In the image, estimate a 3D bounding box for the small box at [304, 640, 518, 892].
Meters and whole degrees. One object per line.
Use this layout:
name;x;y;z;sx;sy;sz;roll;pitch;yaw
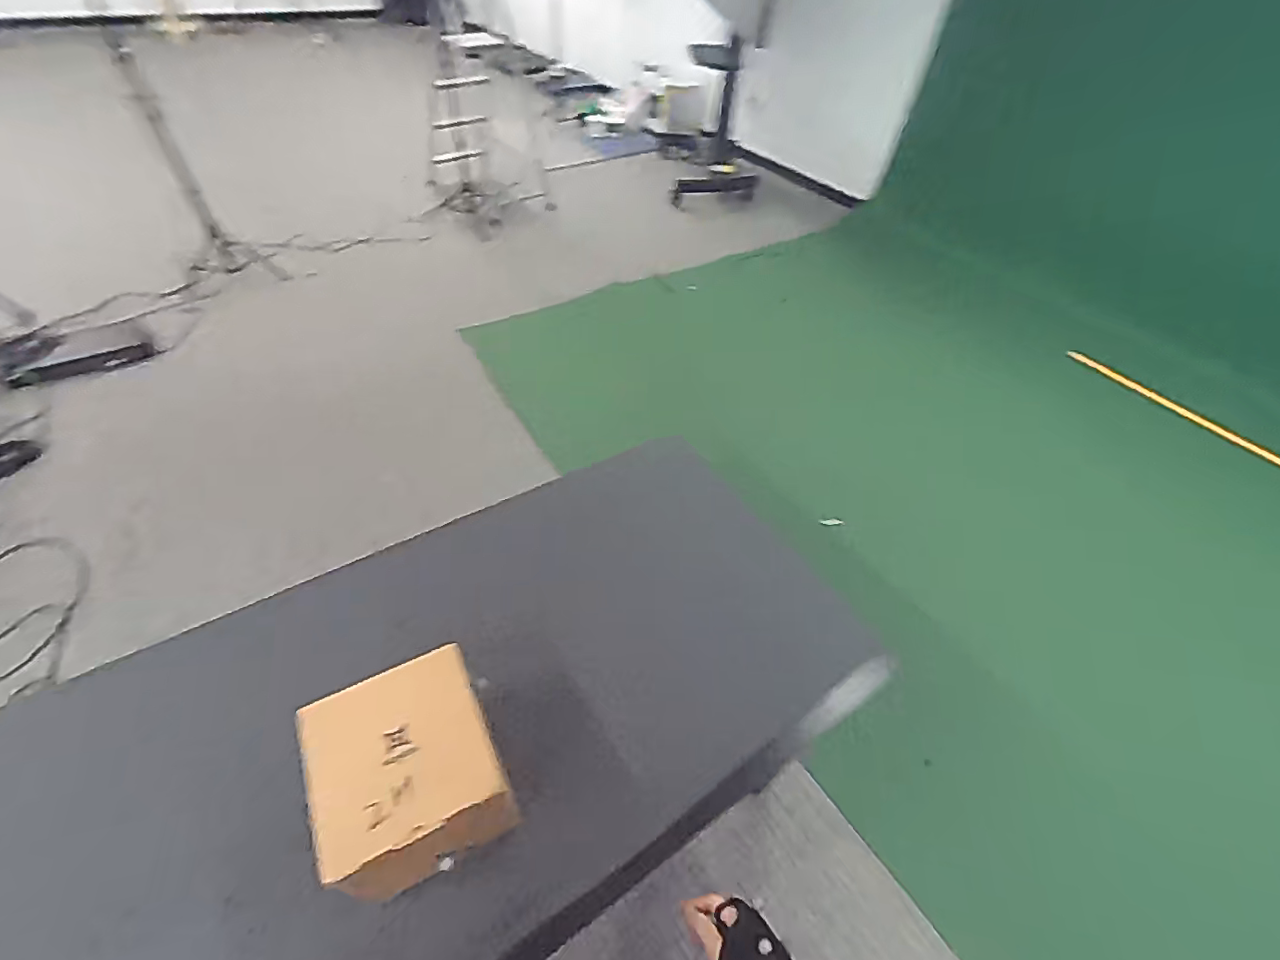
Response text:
small box;-0.249;0.321;0.610;0.168;0.176;0.179;-21;53;-22
